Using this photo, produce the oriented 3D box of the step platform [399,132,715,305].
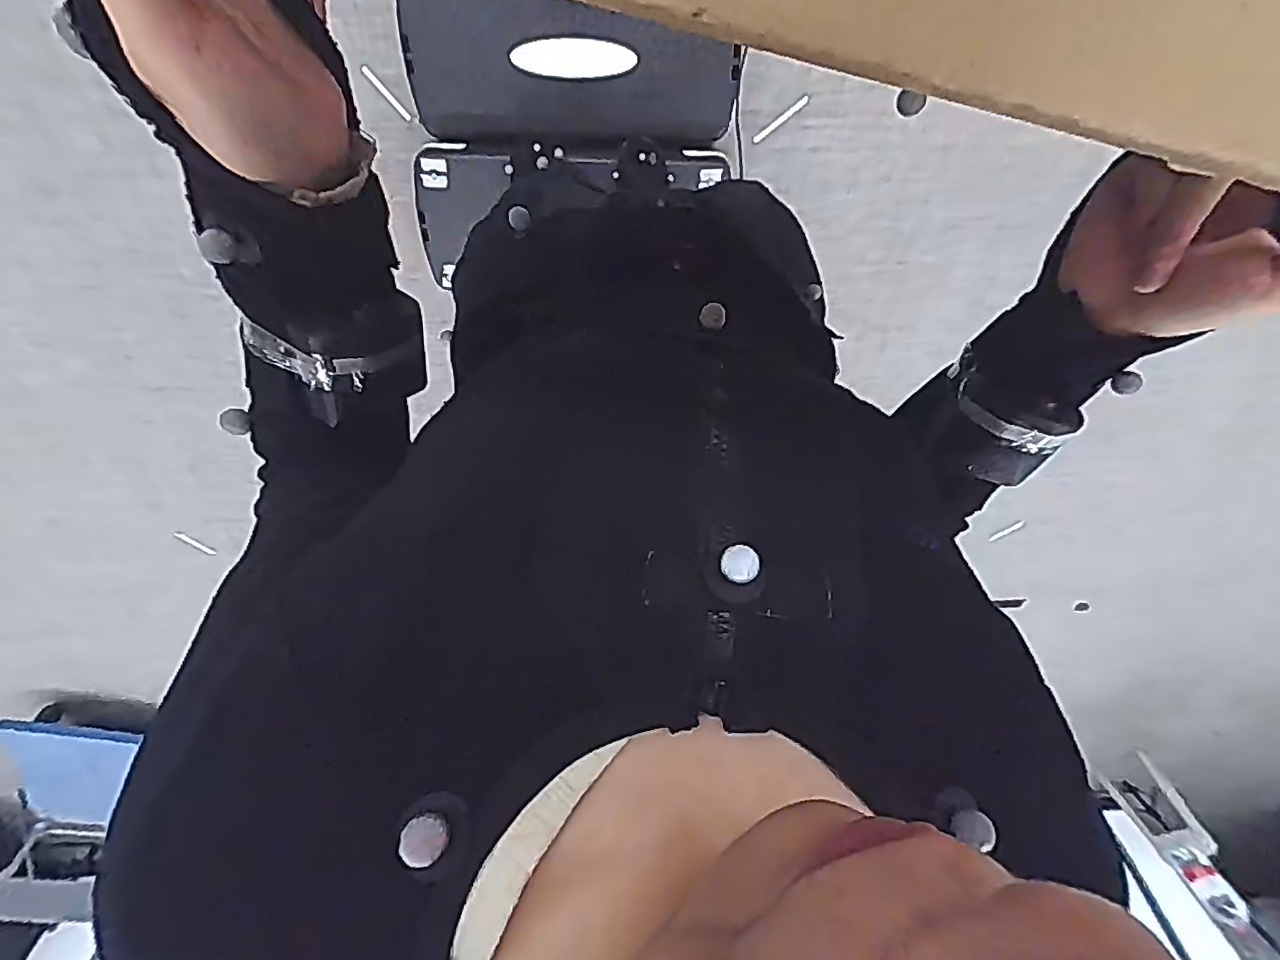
[{"bbox_3d":[-0.175,-0.586,1.231,0.684,0.204,0.286,4,126,-5],"label":"step platform"}]
